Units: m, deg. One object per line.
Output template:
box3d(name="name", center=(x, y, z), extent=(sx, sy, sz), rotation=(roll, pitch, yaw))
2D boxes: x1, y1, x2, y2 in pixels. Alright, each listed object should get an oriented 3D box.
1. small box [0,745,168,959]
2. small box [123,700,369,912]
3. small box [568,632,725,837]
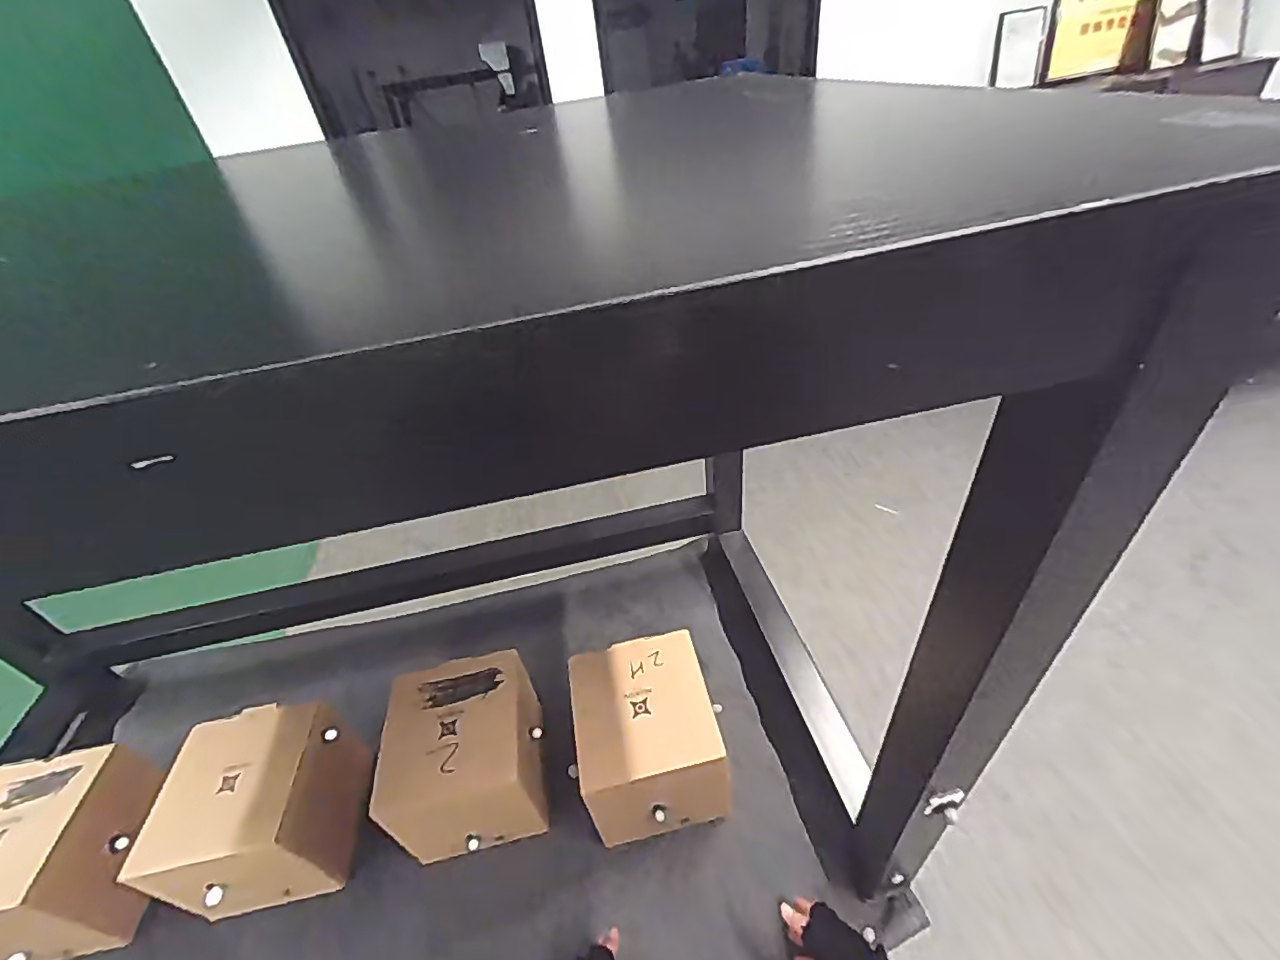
box3d(name="small box", center=(-0.721, 0.468, 0.672), extent=(0.168, 0.176, 0.179), rotation=(-11, 39, -3))
box3d(name="small box", center=(-0.474, 0.419, 0.692), extent=(0.168, 0.176, 0.179), rotation=(-11, 38, -4))
box3d(name="small box", center=(0.009, 0.333, 0.703), extent=(0.168, 0.176, 0.179), rotation=(-12, 38, -4))
